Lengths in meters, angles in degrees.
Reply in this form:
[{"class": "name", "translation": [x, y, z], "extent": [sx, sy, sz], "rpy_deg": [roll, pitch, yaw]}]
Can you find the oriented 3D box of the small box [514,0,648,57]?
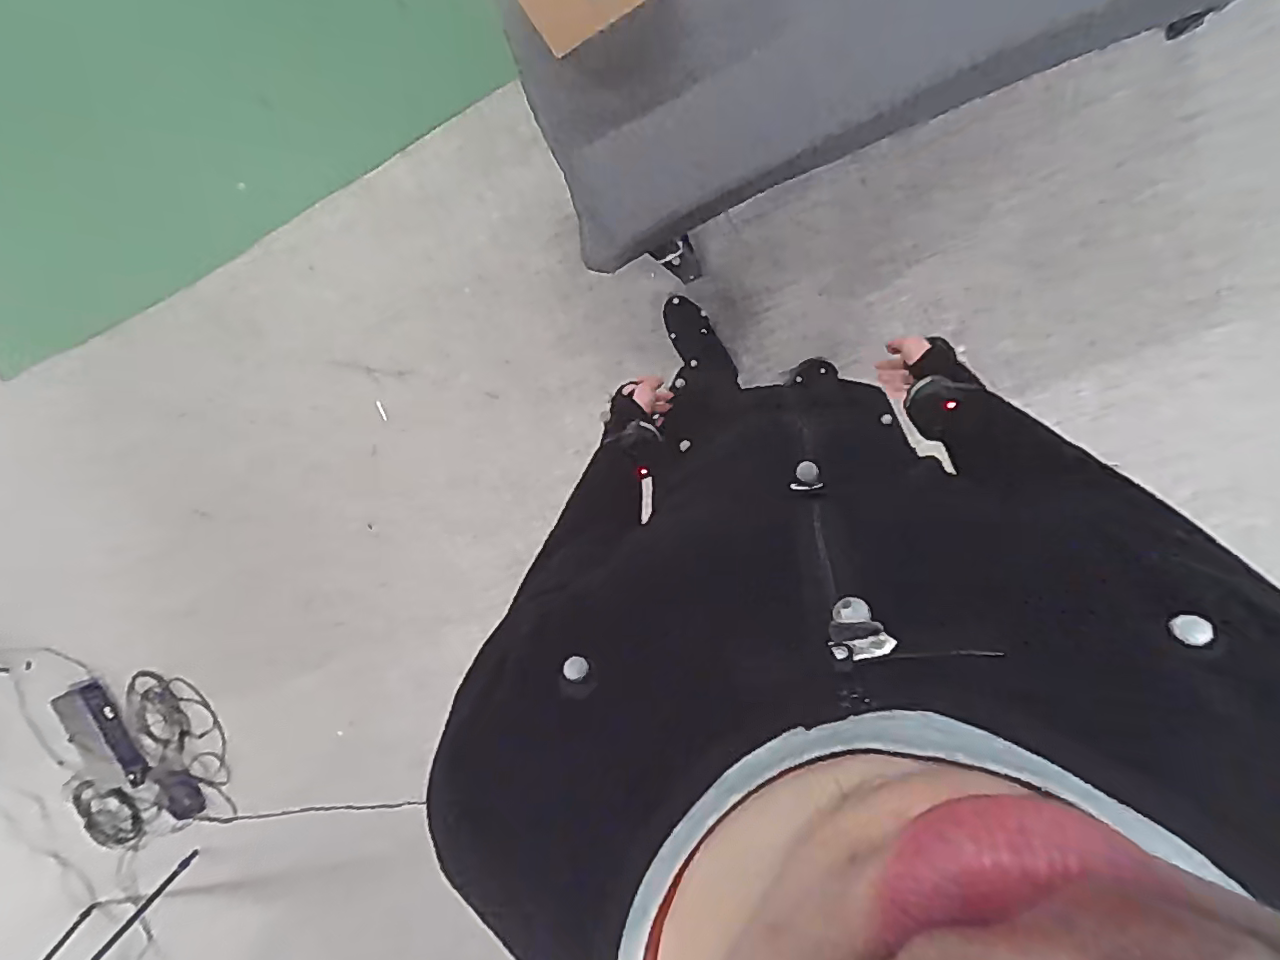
[{"class": "small box", "translation": [-0.082, -0.642, 0.612], "extent": [0.179, 0.176, 0.168], "rpy_deg": [-22, 99, 16]}]
